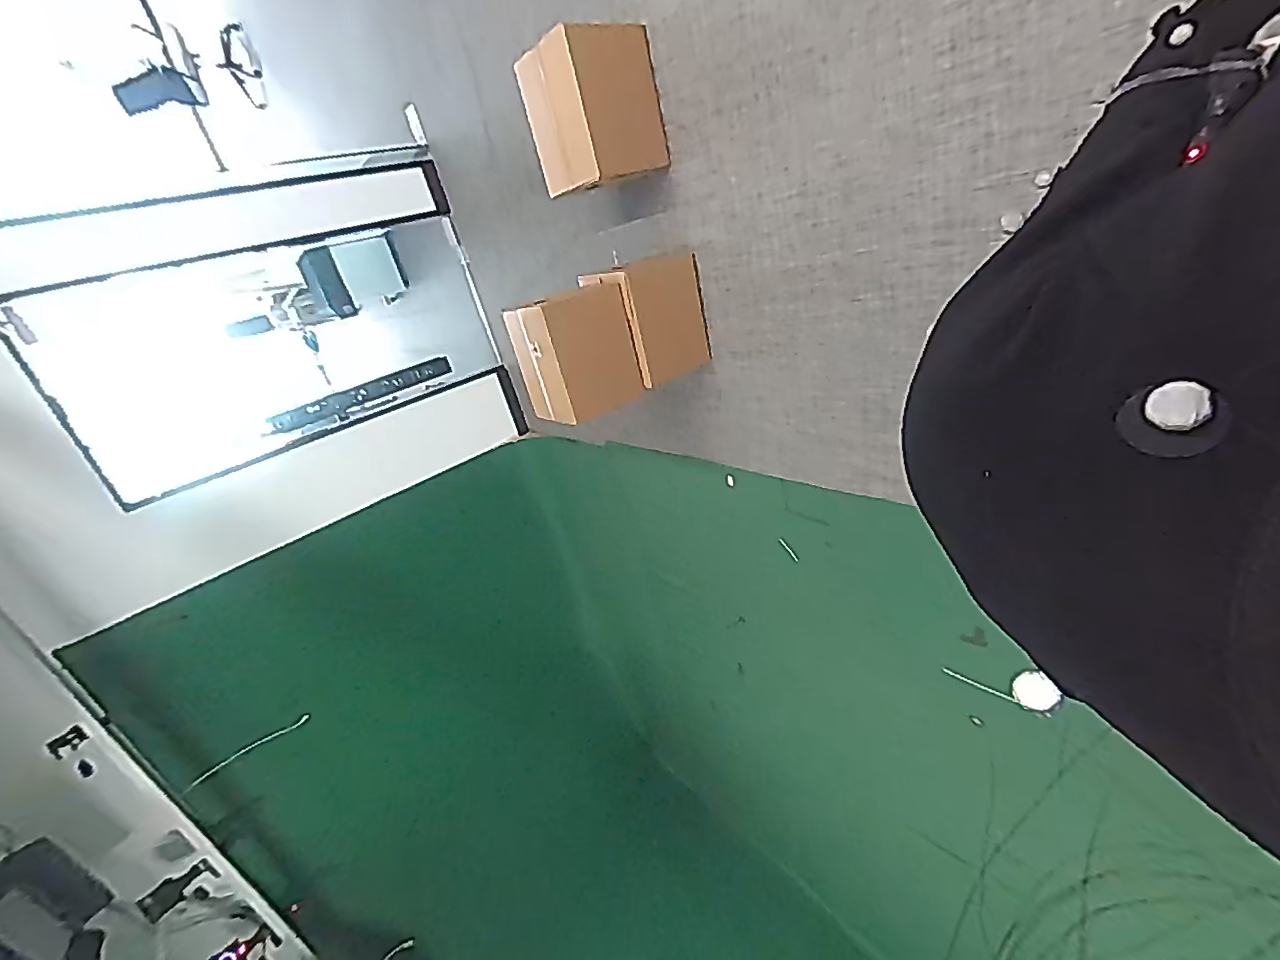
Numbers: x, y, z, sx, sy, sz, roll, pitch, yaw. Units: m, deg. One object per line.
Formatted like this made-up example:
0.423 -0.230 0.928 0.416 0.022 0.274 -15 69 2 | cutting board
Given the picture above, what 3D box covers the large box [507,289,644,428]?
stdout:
-0.225 -0.438 1.941 0.320 0.320 0.408 19 129 52 | large box
